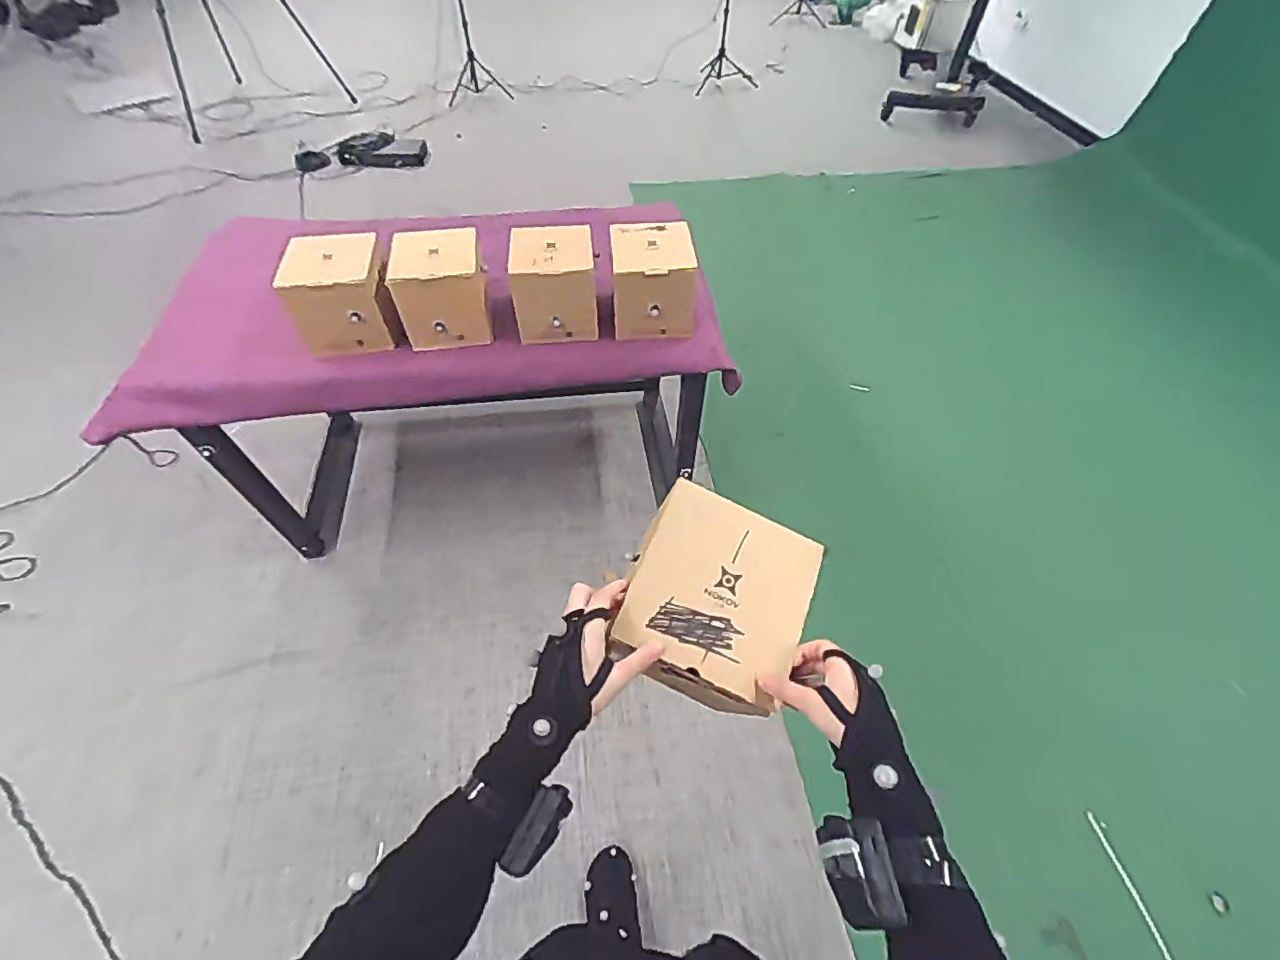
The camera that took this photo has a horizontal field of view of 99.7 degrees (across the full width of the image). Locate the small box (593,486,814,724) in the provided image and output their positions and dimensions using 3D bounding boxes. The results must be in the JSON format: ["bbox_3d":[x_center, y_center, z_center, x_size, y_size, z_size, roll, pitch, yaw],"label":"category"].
[{"bbox_3d":[0.057,0.141,0.584,0.168,0.176,0.179,26,66,1],"label":"small box"}]
